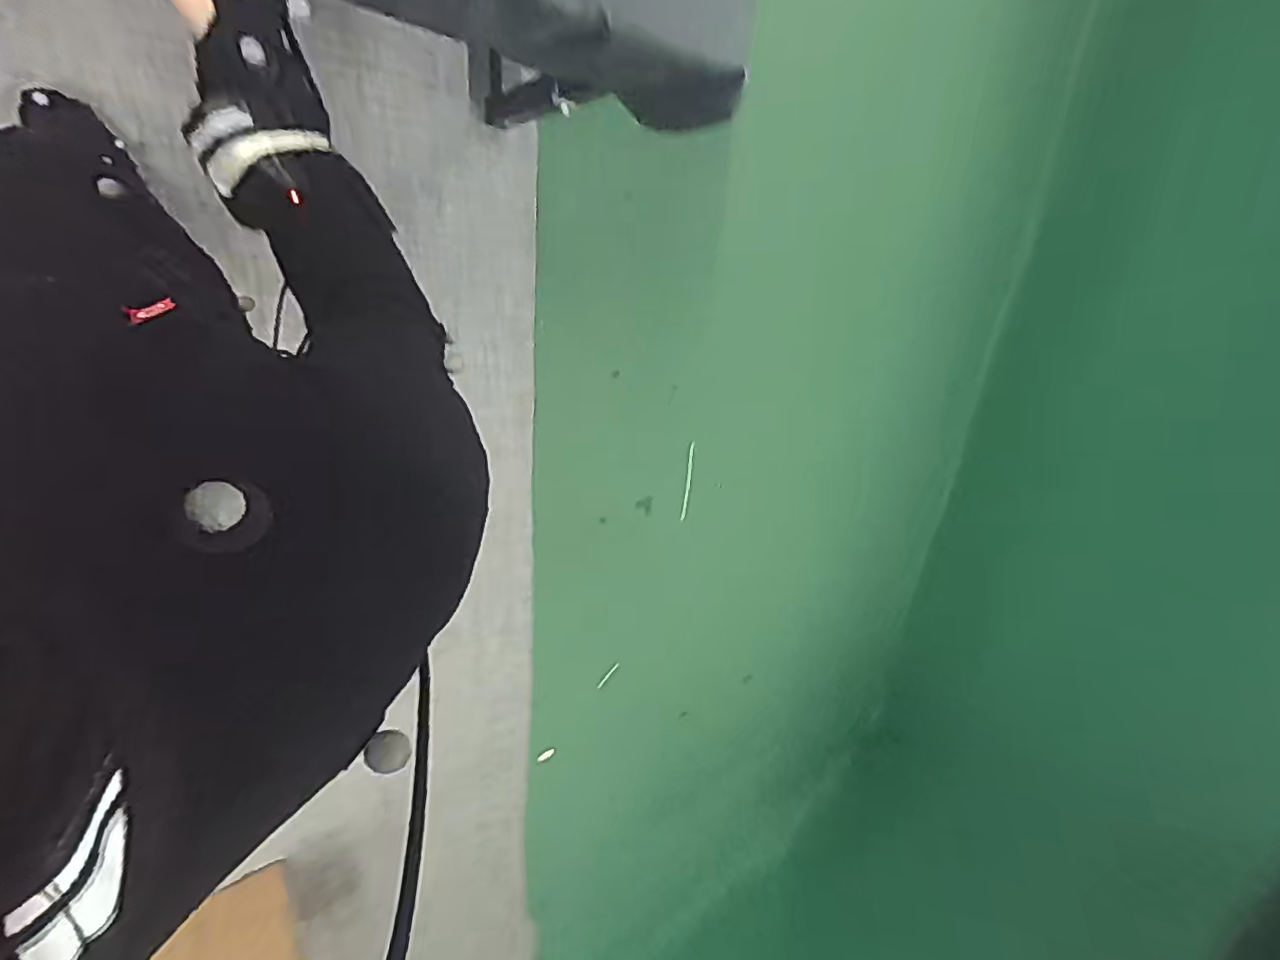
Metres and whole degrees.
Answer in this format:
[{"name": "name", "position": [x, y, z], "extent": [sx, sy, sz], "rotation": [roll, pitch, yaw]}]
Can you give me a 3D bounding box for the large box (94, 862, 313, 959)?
[{"name": "large box", "position": [-1.072, 1.287, 1.350], "extent": [0.408, 0.320, 0.320], "rotation": [-15, 117, -35]}]
